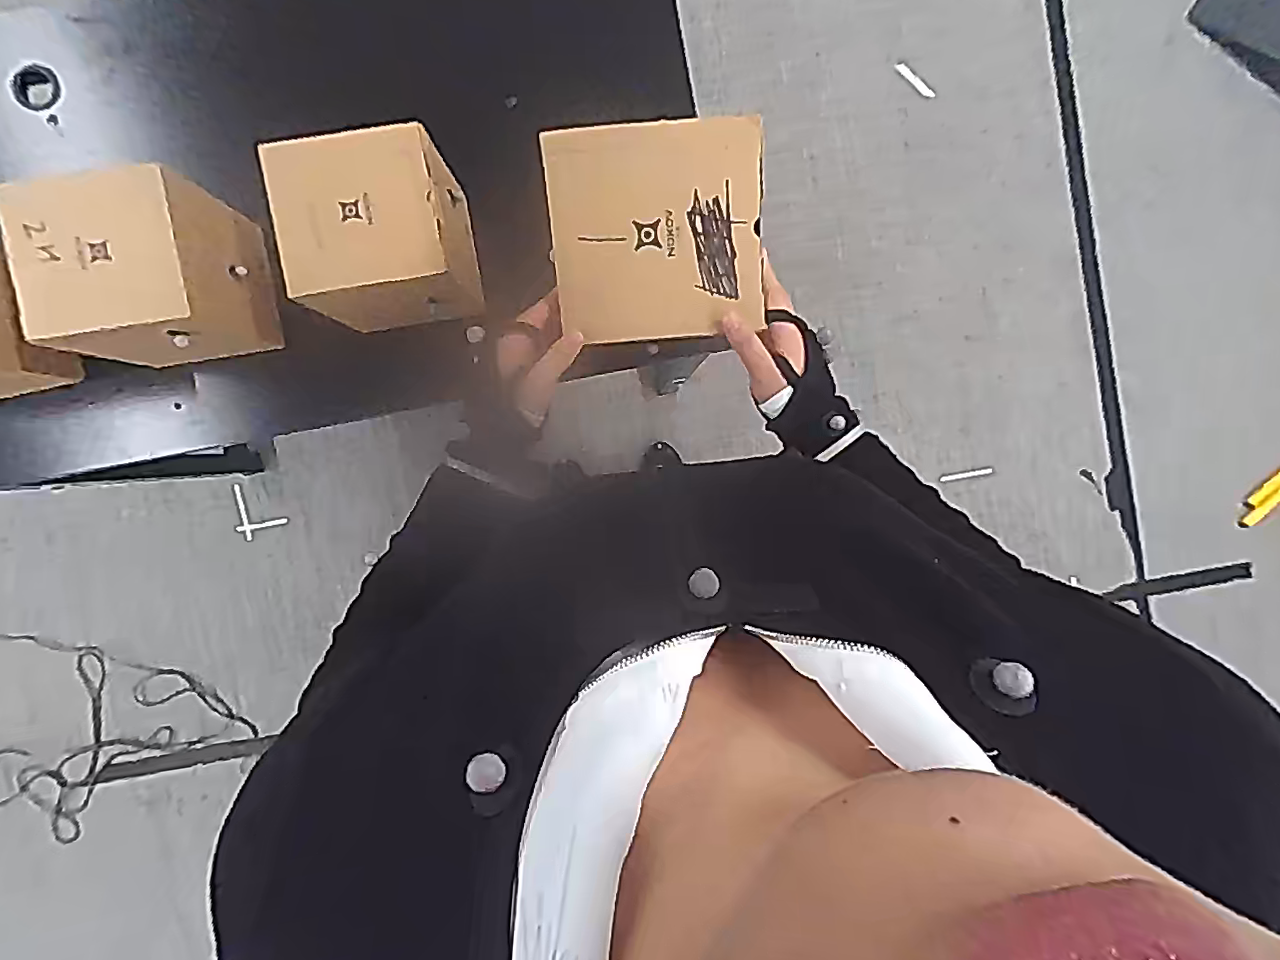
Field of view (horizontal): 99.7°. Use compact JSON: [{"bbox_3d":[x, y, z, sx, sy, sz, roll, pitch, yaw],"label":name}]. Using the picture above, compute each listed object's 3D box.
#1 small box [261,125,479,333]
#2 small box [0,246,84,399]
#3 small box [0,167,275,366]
[{"bbox_3d":[-0.310,-0.291,0.664,0.179,0.176,0.168,-11,92,-1],"label":"small box"},{"bbox_3d":[-0.847,-0.190,0.646,0.179,0.176,0.168,-13,93,-1],"label":"small box"},{"bbox_3d":[-0.579,-0.243,0.653,0.179,0.176,0.168,-10,93,-1],"label":"small box"}]
